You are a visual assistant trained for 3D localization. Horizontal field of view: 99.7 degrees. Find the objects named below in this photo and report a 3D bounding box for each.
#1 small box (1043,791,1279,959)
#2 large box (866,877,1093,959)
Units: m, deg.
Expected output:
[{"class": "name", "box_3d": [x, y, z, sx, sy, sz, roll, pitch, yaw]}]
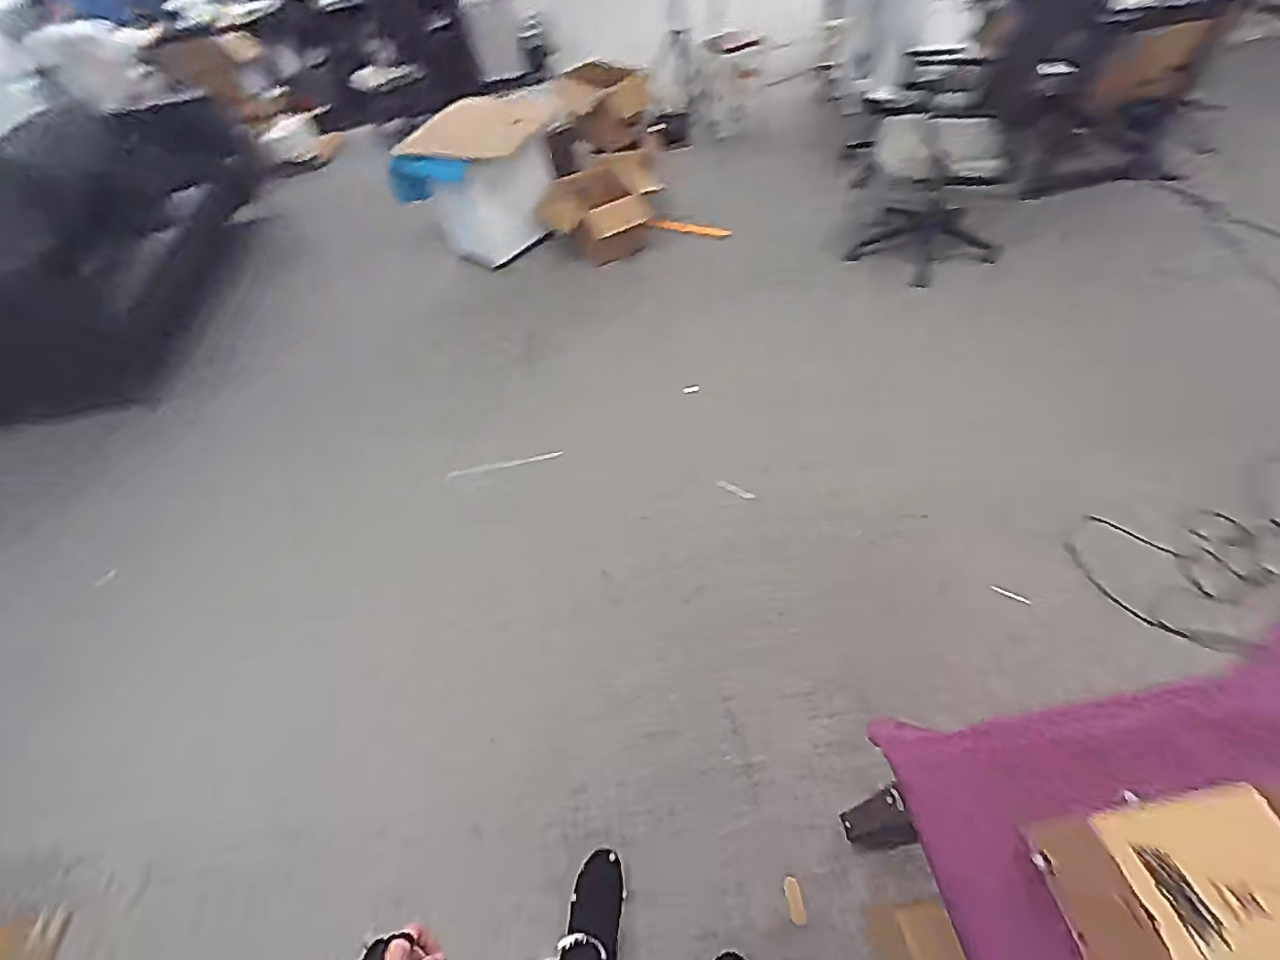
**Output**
[{"class": "small box", "box_3d": [0.574, 0.446, 0.570, 0.179, 0.176, 0.168, -10, 52, -1]}, {"class": "large box", "box_3d": [0.701, 0.957, 0.999, 0.408, 0.320, 0.320, -11, 52, -1]}]
